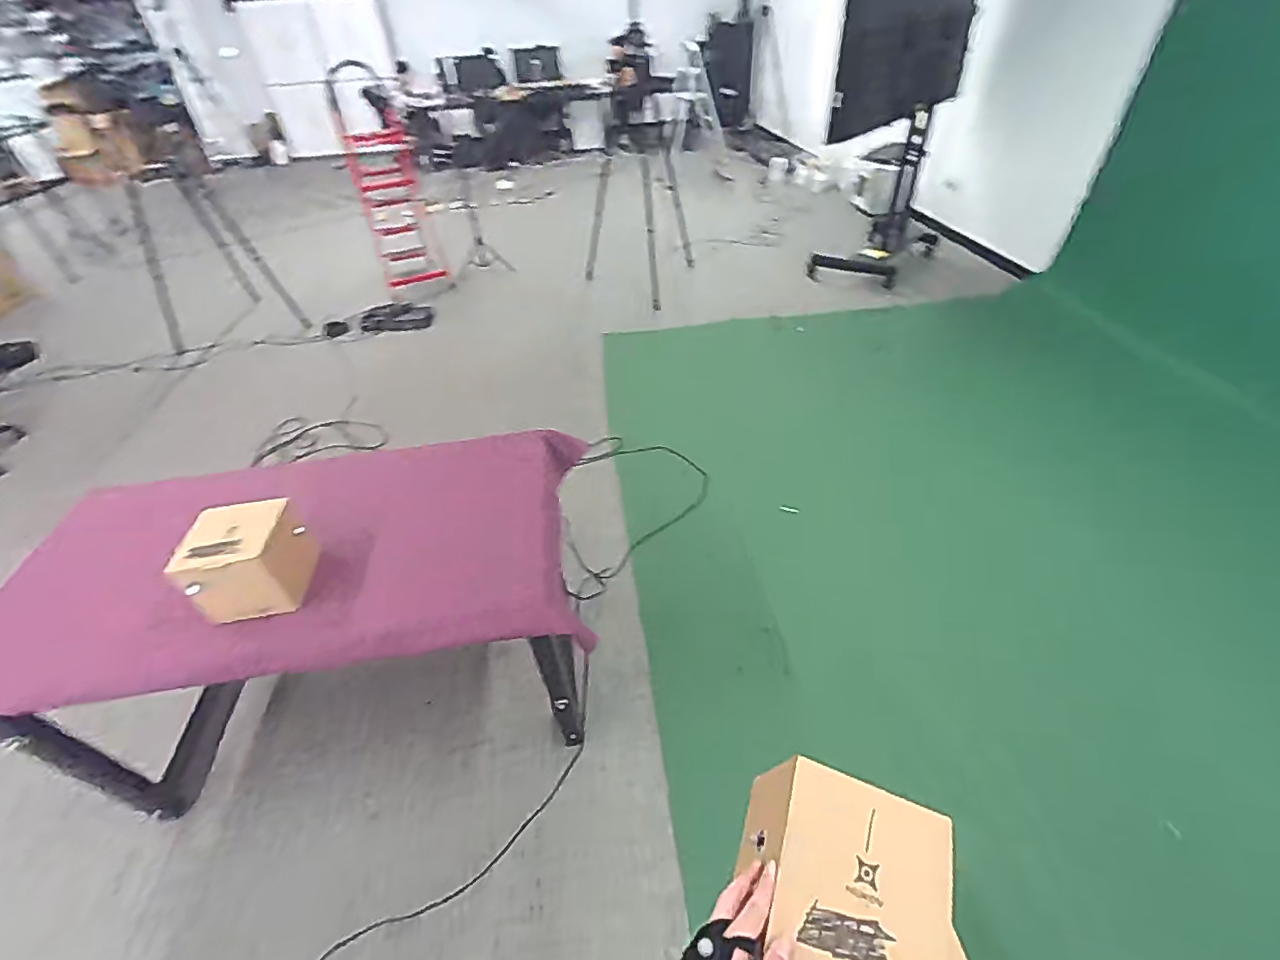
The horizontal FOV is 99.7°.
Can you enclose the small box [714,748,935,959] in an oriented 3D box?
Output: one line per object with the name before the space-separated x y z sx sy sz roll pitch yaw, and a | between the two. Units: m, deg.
small box | 0.187 0.421 0.577 0.168 0.176 0.179 20 53 7
